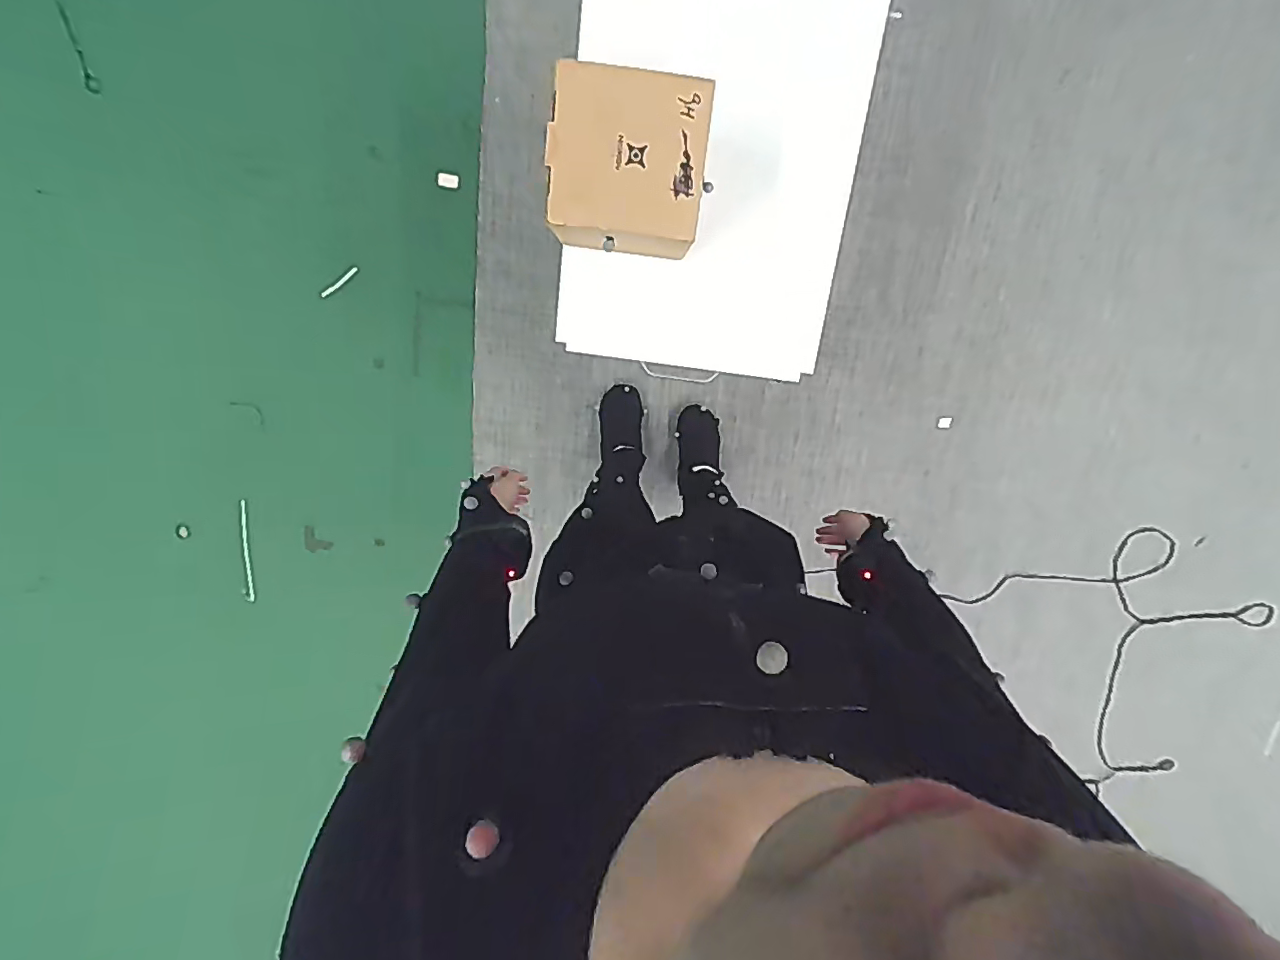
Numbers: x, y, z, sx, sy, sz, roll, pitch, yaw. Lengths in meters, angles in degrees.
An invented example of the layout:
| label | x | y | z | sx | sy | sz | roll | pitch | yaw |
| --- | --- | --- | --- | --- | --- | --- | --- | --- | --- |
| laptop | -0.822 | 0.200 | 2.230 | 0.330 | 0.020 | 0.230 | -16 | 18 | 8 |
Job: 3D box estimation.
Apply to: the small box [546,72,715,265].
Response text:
| label | x | y | z | sx | sy | sz | roll | pitch | yaw |
| --- | --- | --- | --- | --- | --- | --- | --- | --- | --- |
| small box | -0.013 | -0.374 | 0.682 | 0.179 | 0.176 | 0.168 | 6 | 105 | -2 |
